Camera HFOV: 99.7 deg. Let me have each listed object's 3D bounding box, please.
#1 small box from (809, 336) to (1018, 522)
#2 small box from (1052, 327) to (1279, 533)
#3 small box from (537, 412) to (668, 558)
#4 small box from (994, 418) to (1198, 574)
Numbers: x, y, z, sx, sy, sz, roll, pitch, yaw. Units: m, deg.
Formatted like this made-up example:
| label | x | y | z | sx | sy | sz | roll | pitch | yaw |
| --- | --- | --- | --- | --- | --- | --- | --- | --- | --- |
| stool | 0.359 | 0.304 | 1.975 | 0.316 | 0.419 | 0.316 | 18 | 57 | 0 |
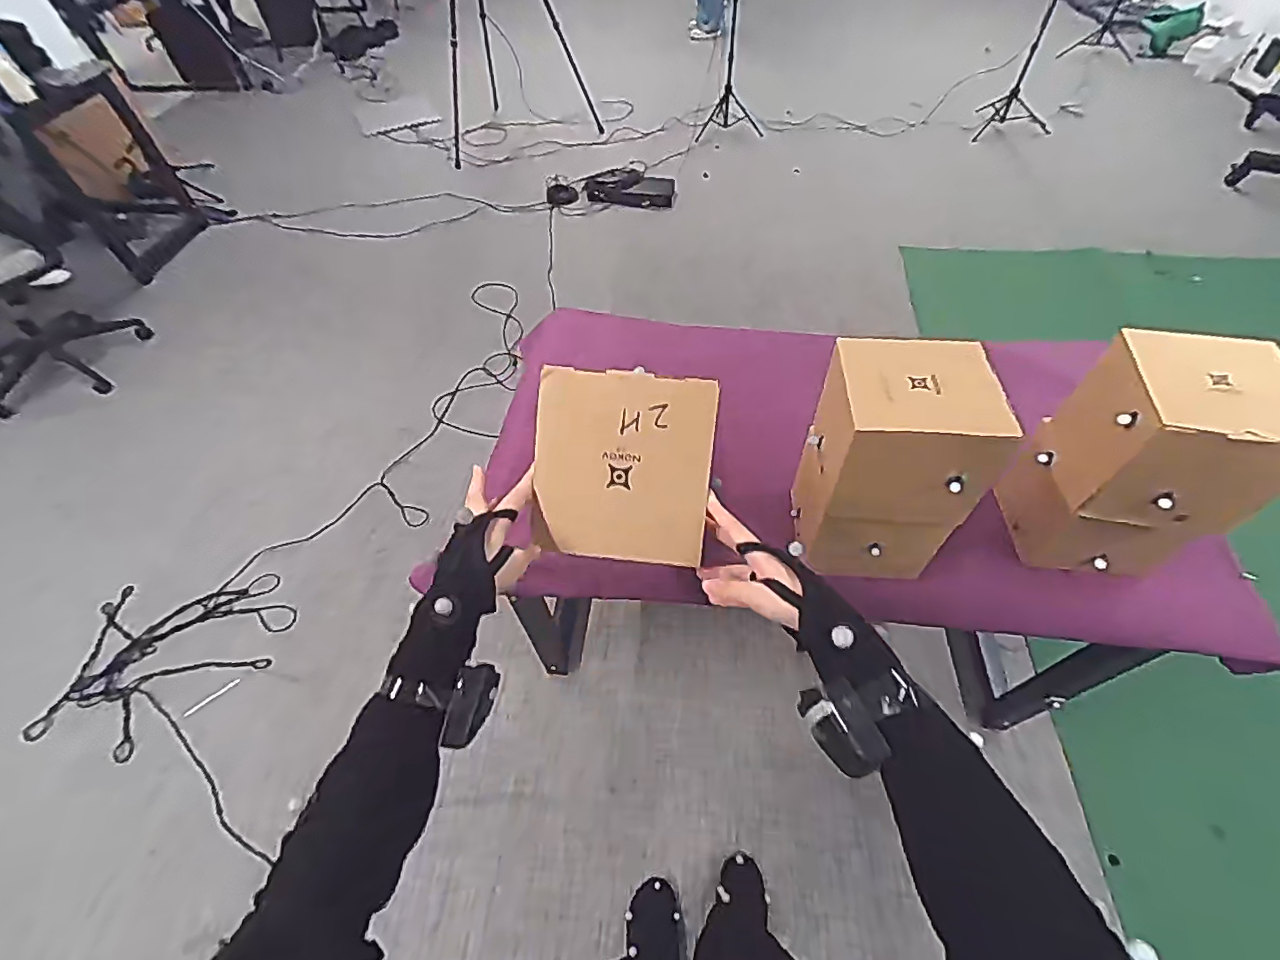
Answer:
| label | x | y | z | sx | sy | sz | roll | pitch | yaw |
| --- | --- | --- | --- | --- | --- | --- | --- | --- | --- |
| small box | 0.325 | -0.061 | 0.685 | 0.179 | 0.176 | 0.168 | 3 | 50 | 7 |
| small box | 0.652 | -0.061 | 0.668 | 0.168 | 0.176 | 0.179 | 9 | 53 | 11 |
| small box | -0.048 | 0.011 | 0.857 | 0.179 | 0.176 | 0.168 | 3 | 51 | 4 |
| small box | 0.676 | 0.027 | 0.806 | 0.179 | 0.176 | 0.168 | 2 | 50 | 7 |
